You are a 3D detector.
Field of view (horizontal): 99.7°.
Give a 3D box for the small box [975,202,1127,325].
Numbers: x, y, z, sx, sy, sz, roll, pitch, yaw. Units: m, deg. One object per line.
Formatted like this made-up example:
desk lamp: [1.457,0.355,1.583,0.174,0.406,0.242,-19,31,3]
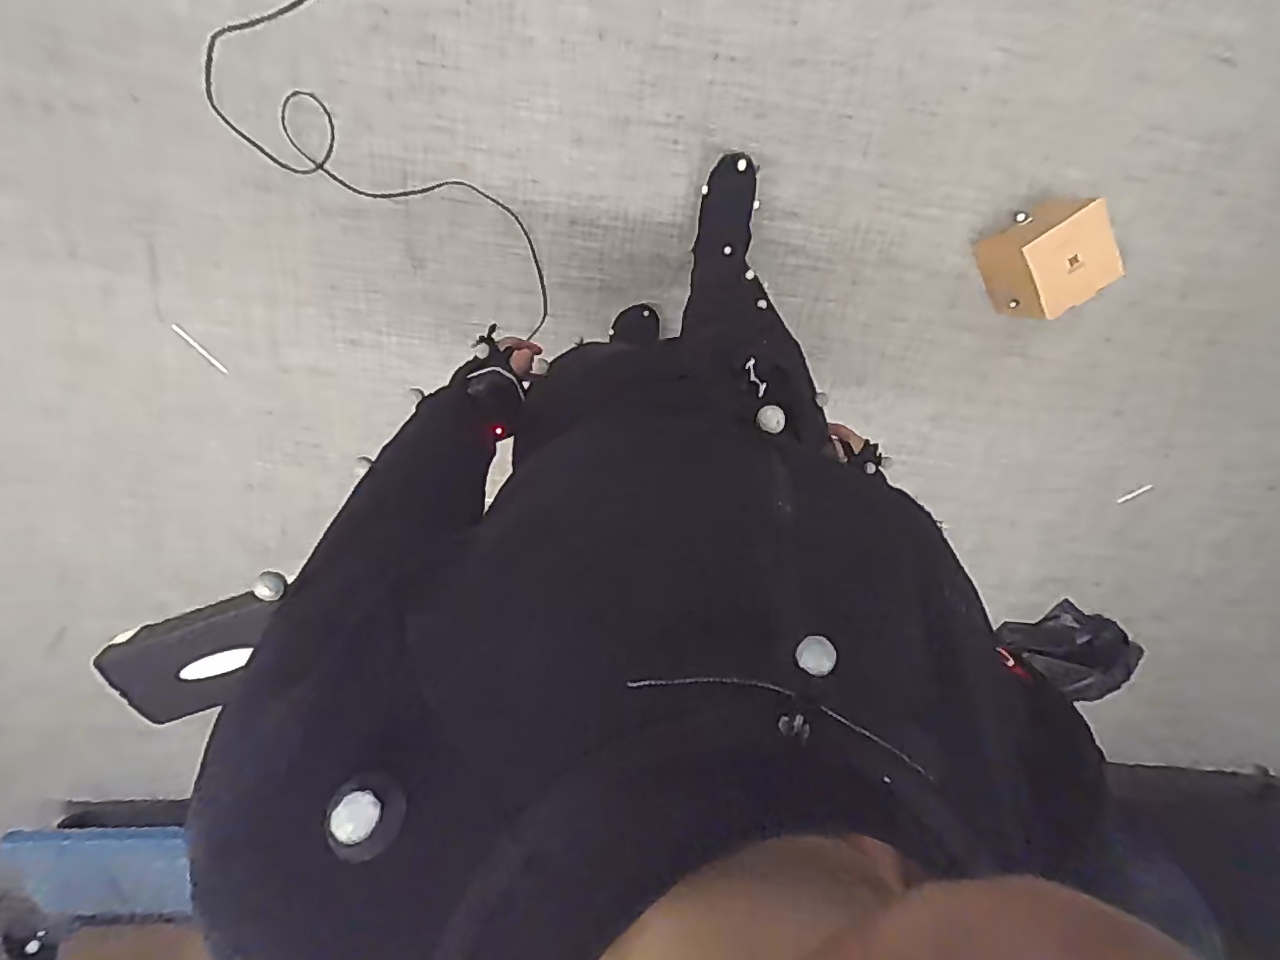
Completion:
small box: [0.860,-0.457,1.144,0.168,0.176,0.179,-34,110,11]
